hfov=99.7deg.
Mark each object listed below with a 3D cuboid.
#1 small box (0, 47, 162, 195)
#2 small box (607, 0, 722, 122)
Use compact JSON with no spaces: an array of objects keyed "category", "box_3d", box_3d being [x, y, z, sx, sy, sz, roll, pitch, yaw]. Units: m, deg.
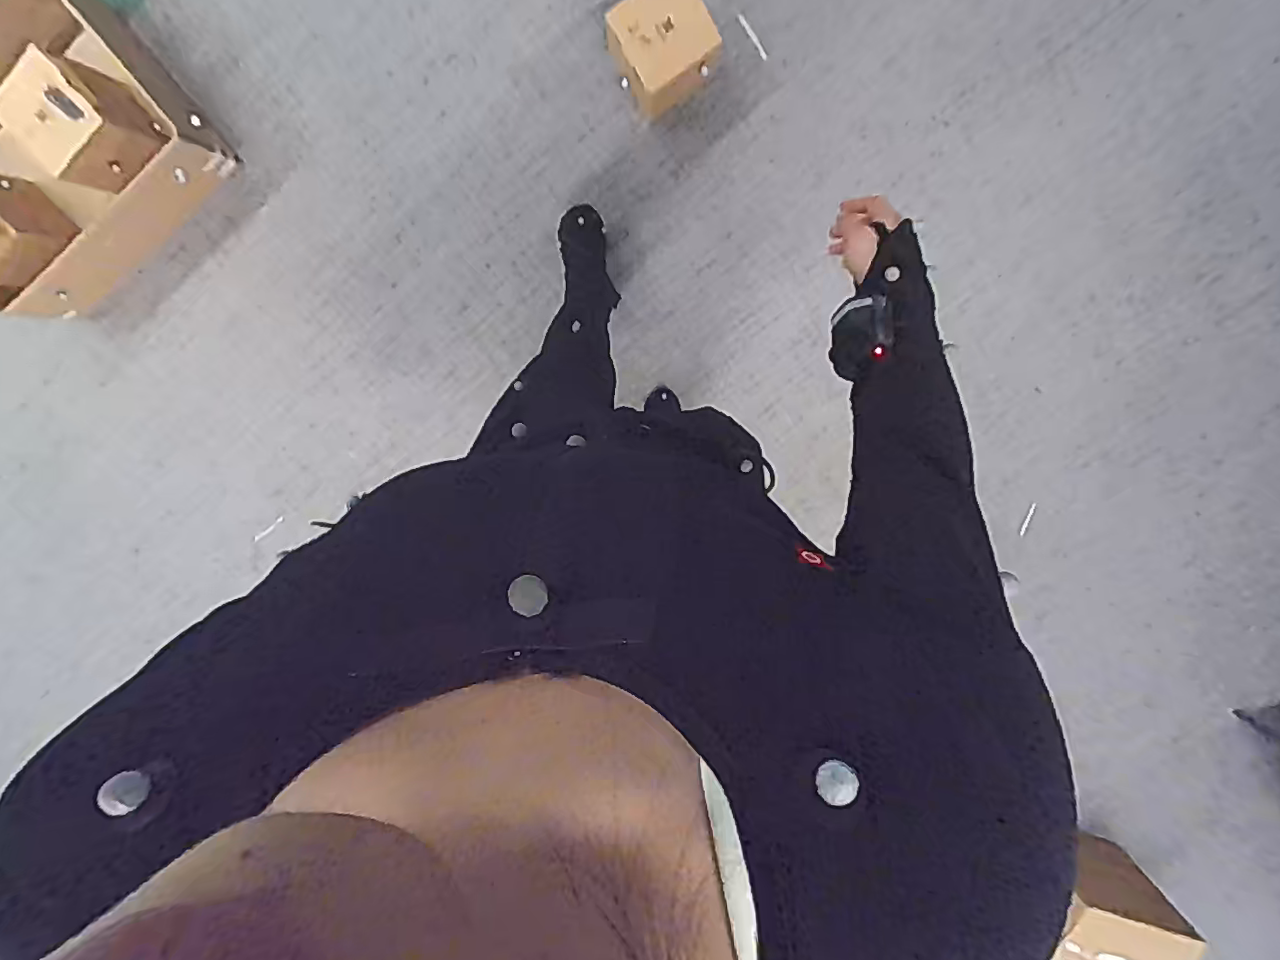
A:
[{"category":"small box","box_3d":[-1.166,-0.734,1.129,0.179,0.176,0.168,-35,104,11]},{"category":"small box","box_3d":[0.047,-0.901,1.132,0.179,0.176,0.168,-32,104,9]}]
